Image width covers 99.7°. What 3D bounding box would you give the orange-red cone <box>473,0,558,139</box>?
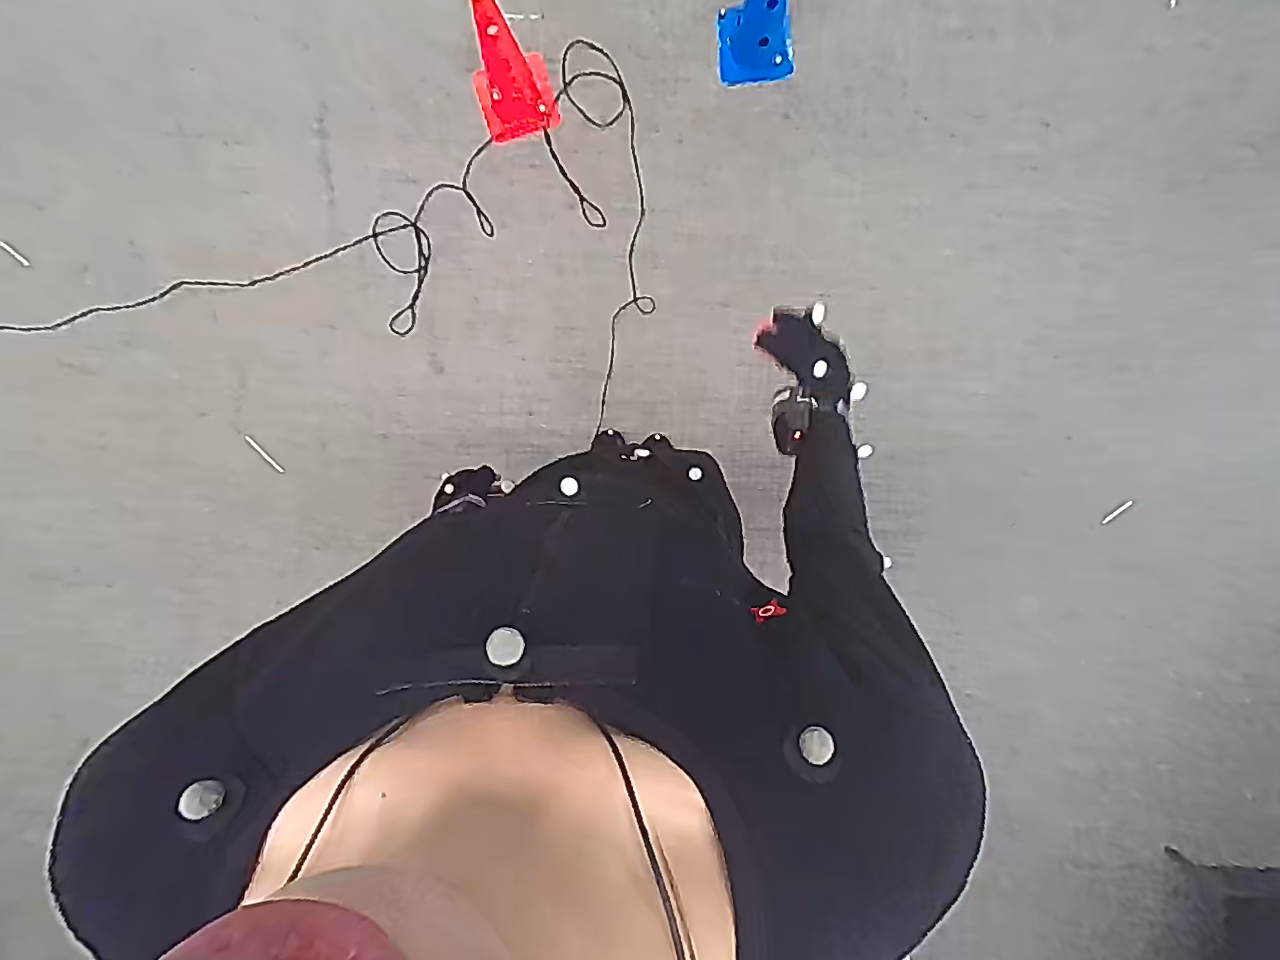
[{"bbox_3d":[-0.334,-1.032,1.289,0.198,0.360,0.199,-17,91,0],"label":"orange-red cone"}]
